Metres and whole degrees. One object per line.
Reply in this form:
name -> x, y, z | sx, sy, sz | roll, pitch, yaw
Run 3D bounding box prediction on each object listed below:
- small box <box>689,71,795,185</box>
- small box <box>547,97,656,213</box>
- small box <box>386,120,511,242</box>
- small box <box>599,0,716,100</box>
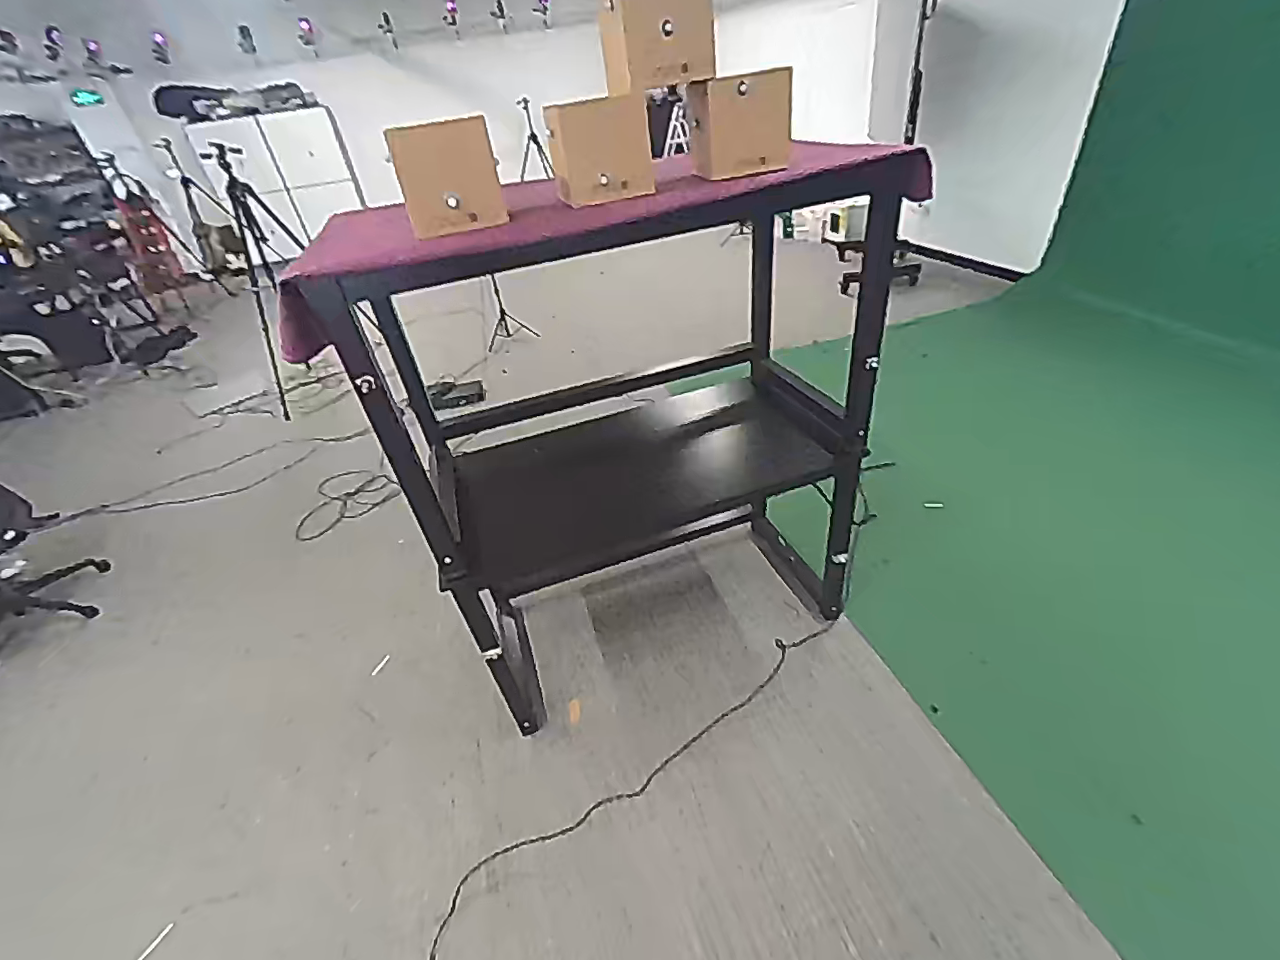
small box -> 0.204, -0.712, 1.103 | 0.168, 0.176, 0.179 | -13, 34, -3
small box -> -0.076, -0.632, 1.055 | 0.168, 0.176, 0.179 | -15, 36, -8
small box -> -0.343, -0.543, 0.983 | 0.168, 0.176, 0.179 | -17, 37, -11
small box -> 0.033, -0.807, 0.988 | 0.168, 0.176, 0.179 | -15, 35, -8
